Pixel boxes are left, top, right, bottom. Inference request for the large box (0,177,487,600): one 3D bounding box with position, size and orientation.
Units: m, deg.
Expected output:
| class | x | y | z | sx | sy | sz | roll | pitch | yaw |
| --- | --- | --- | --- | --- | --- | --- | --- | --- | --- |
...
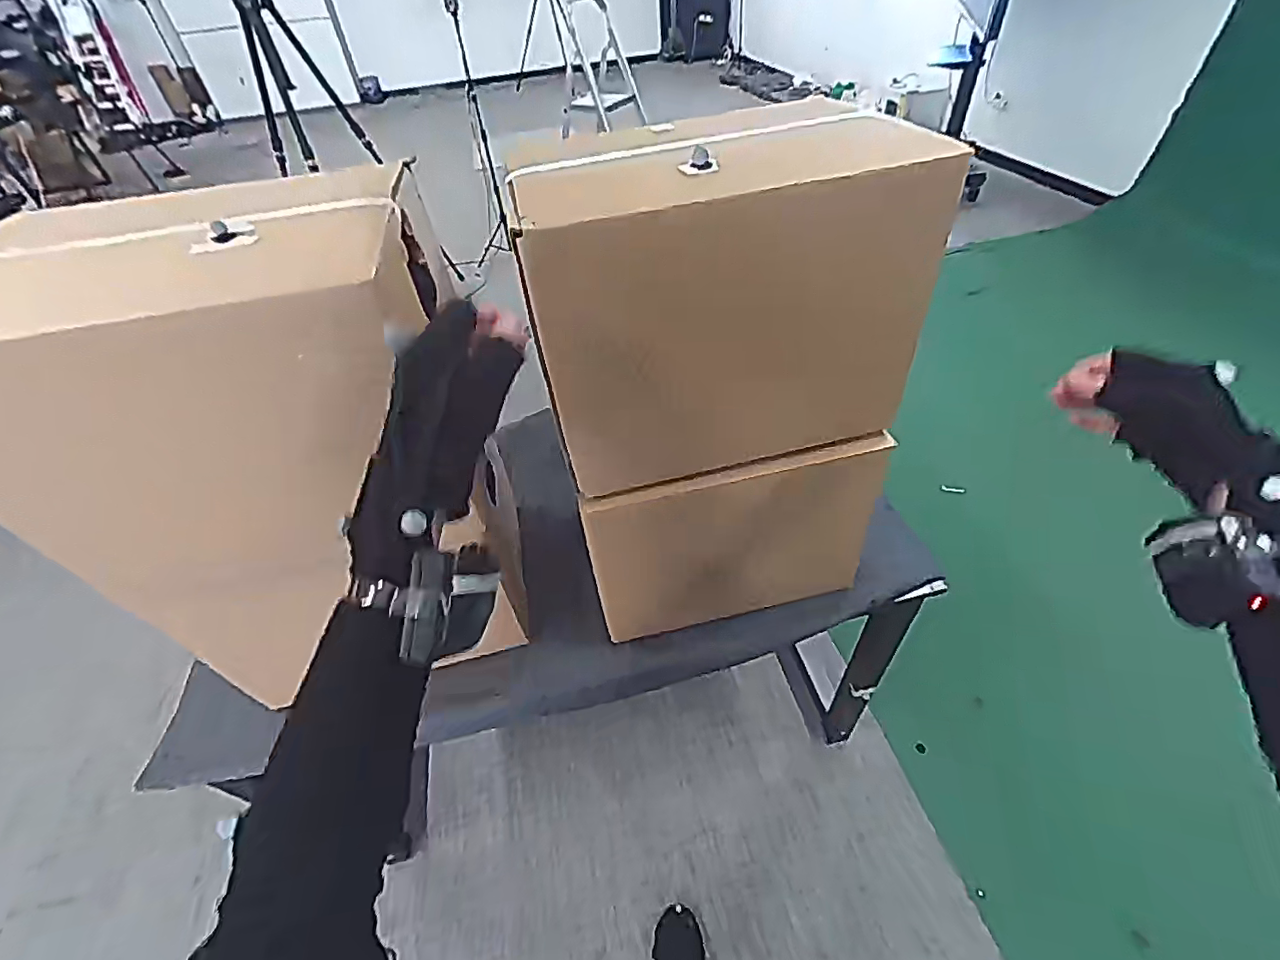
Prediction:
| class | x | y | z | sx | sy | sz | roll | pitch | yaw |
| --- | --- | --- | --- | --- | --- | --- | --- | --- | --- |
| large box | -0.413 | -0.110 | 0.611 | 0.408 | 0.320 | 0.320 | -11 | 47 | -7 |
